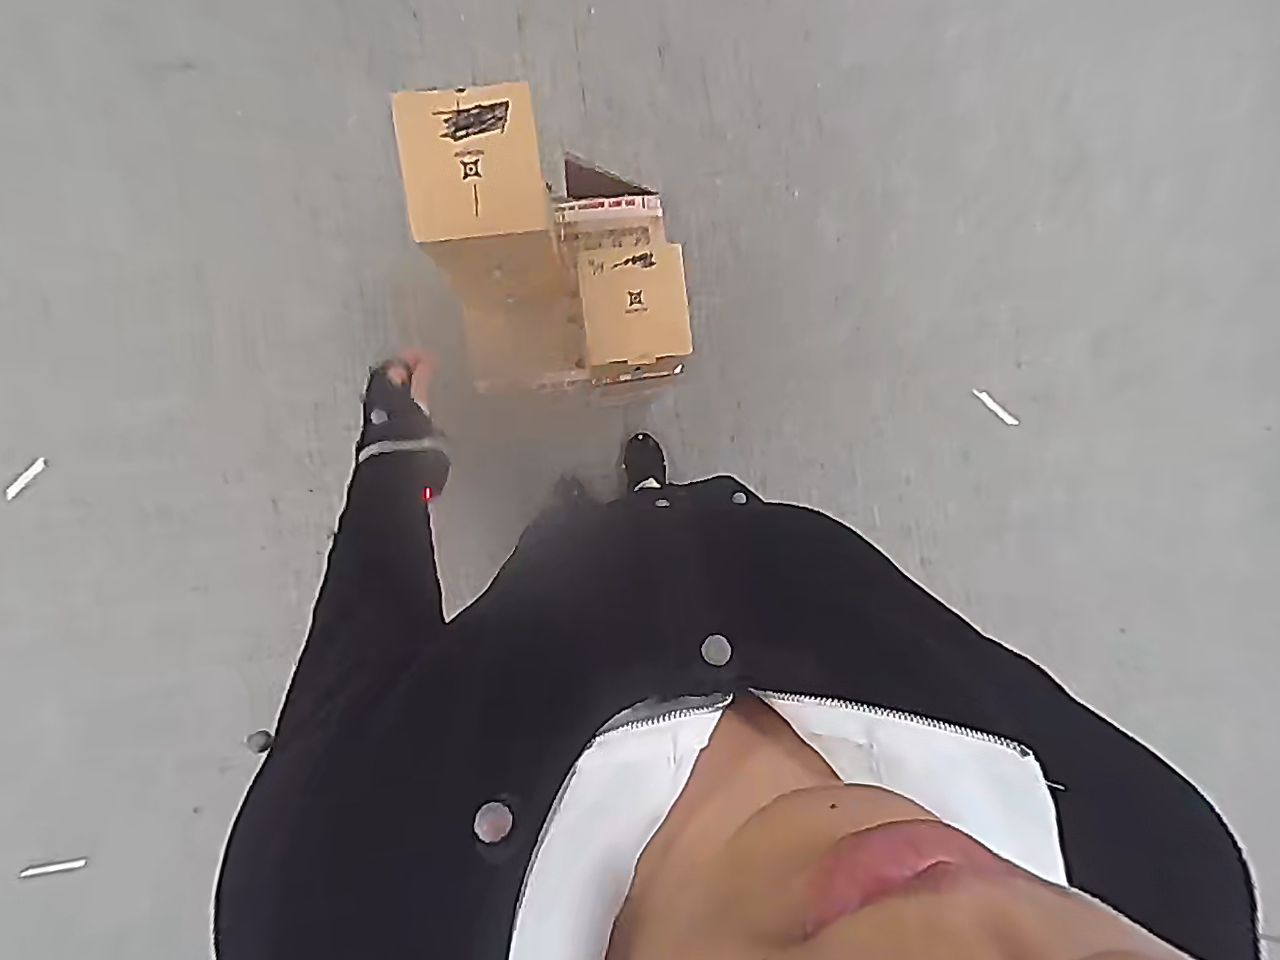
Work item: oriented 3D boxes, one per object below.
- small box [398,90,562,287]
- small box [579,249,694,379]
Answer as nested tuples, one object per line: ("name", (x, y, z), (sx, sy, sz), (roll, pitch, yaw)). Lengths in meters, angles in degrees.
("small box", (-0.202, -0.378, 0.729), (0.168, 0.176, 0.179), (-7, 95, -2))
("small box", (-0.011, -0.269, 0.915), (0.168, 0.176, 0.179), (-7, 95, -6))
